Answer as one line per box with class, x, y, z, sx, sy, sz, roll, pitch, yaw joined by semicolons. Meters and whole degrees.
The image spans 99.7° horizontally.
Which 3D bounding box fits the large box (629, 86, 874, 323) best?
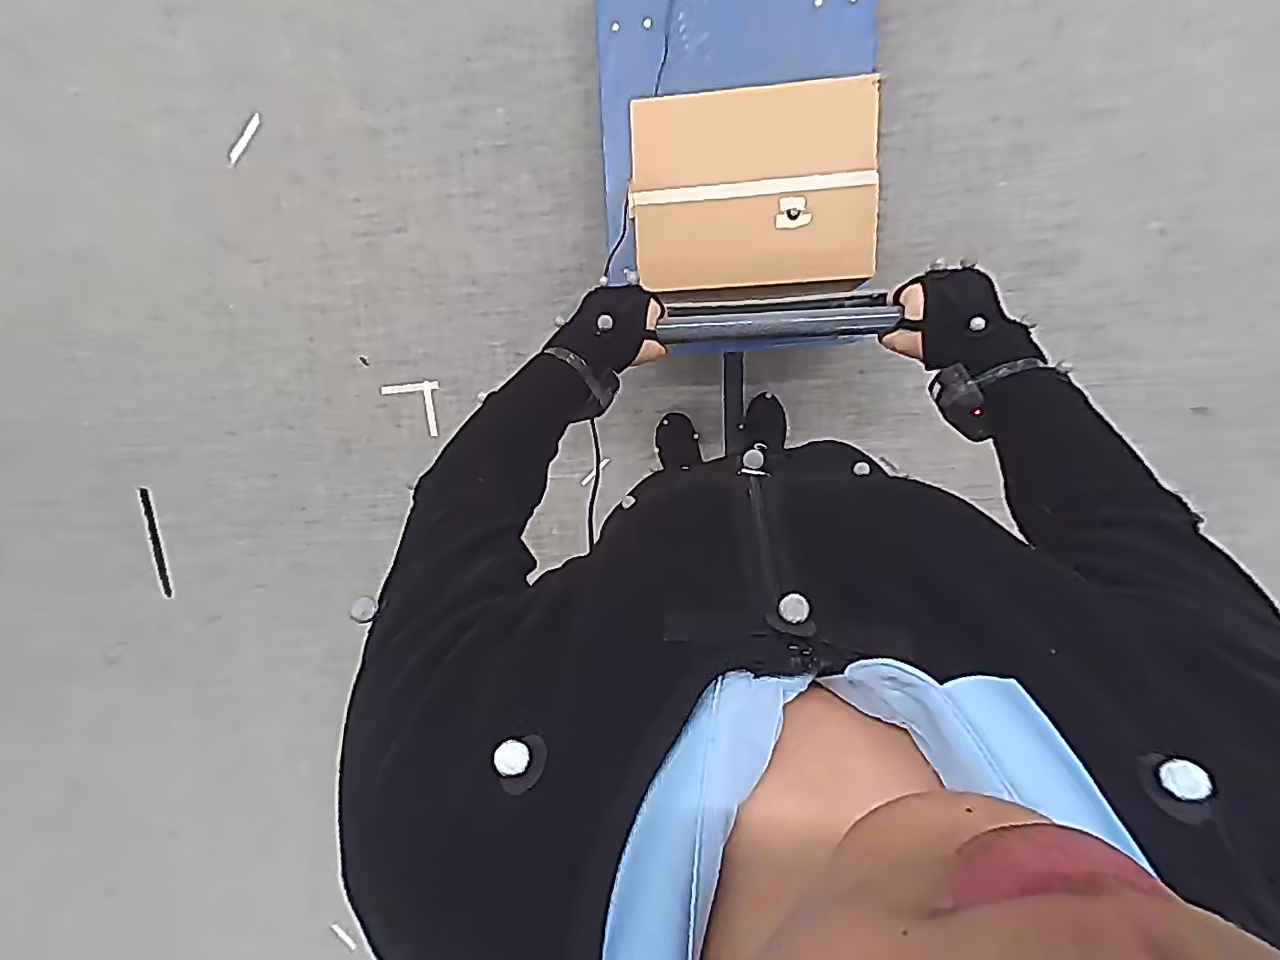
large box;0.201;-0.496;1.055;0.408;0.320;0.320;-2;100;6
